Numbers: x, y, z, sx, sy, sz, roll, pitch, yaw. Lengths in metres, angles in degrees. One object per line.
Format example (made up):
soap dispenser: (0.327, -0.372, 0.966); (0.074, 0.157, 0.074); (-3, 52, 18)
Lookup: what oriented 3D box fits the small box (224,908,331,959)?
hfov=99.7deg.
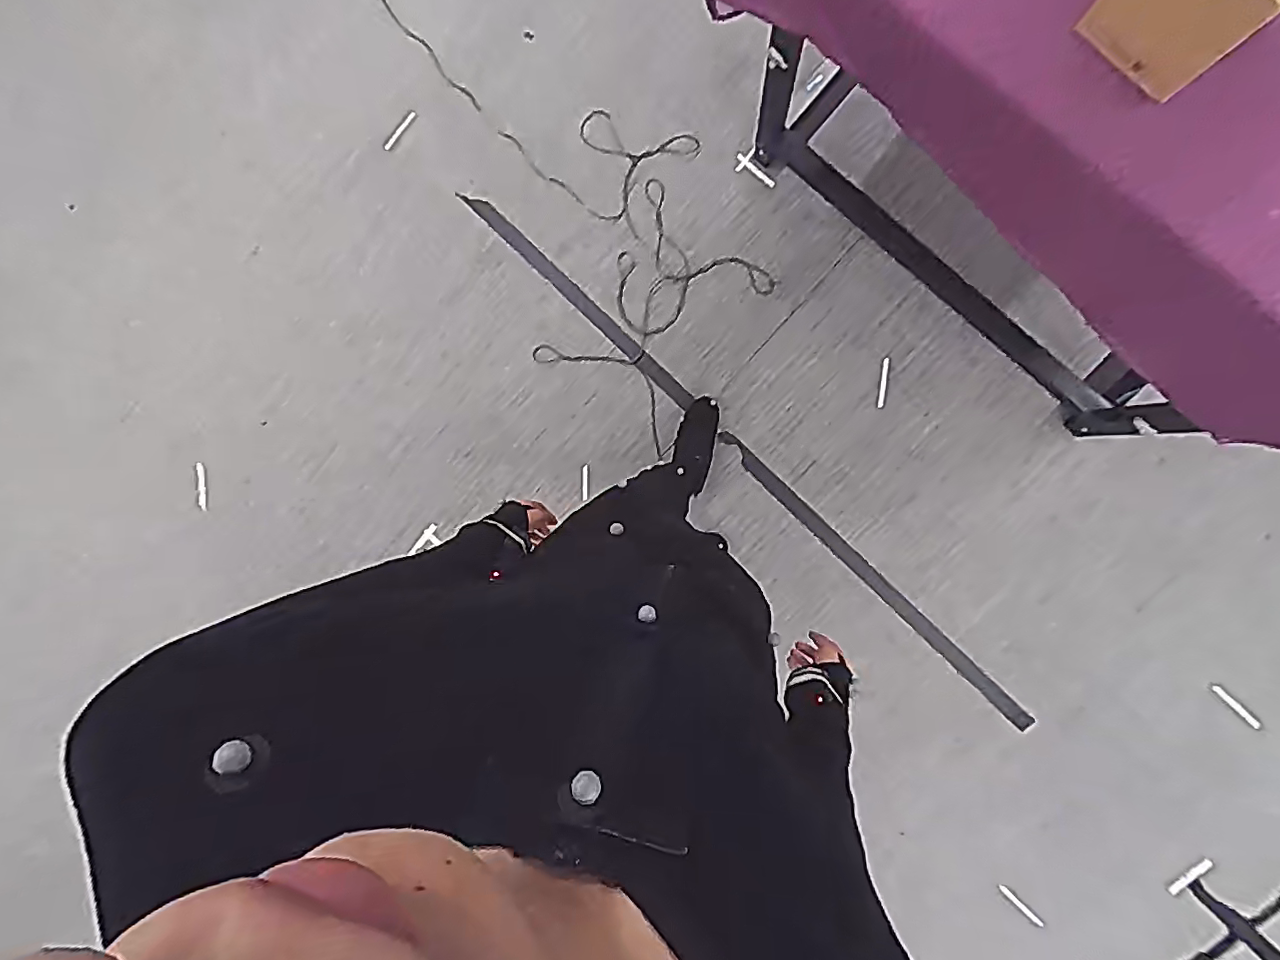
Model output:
small box: (-0.780, 1.037, 1.099); (0.179, 0.176, 0.168); (39, 97, 4)
